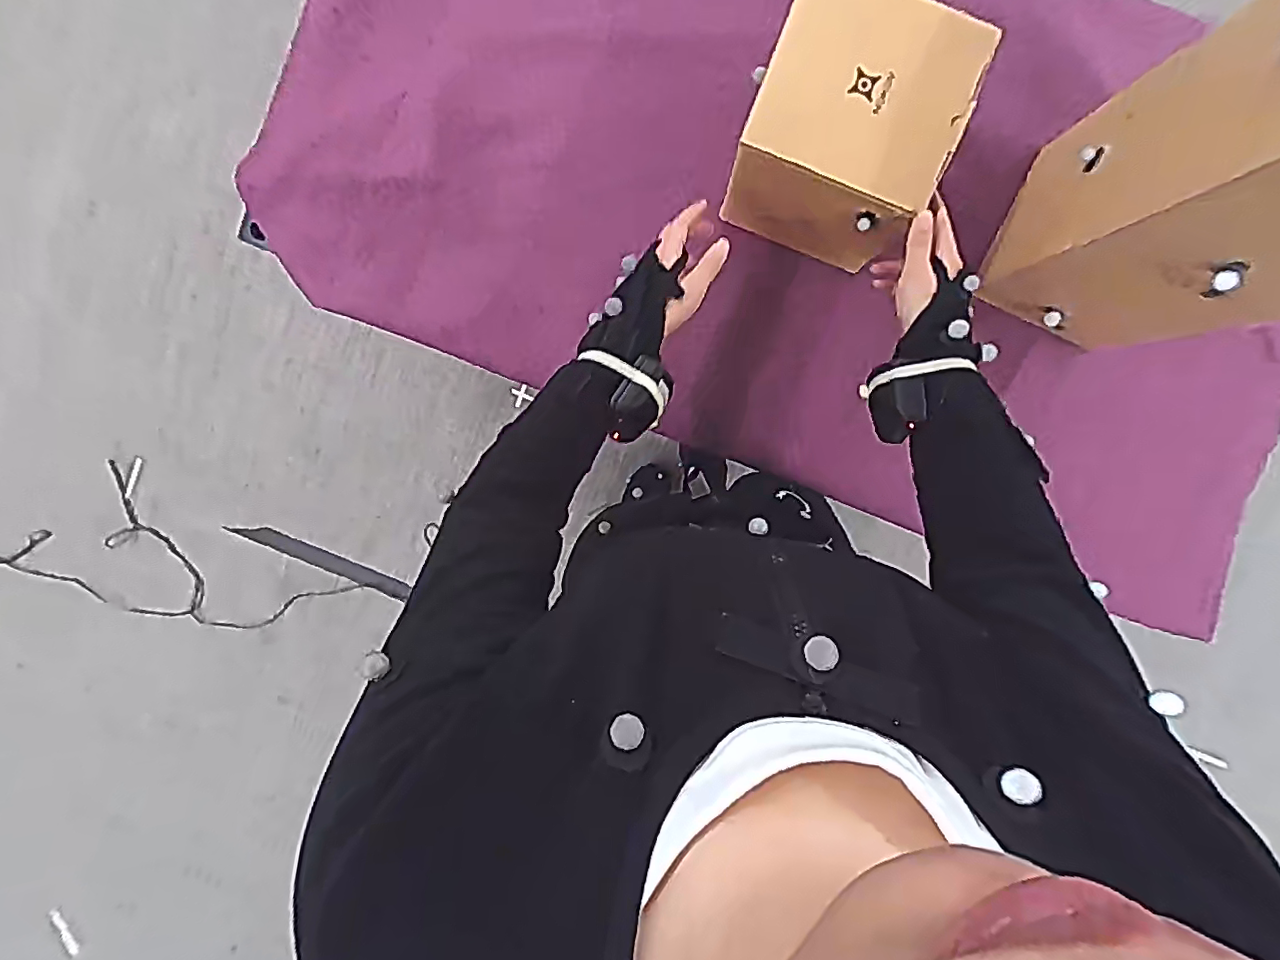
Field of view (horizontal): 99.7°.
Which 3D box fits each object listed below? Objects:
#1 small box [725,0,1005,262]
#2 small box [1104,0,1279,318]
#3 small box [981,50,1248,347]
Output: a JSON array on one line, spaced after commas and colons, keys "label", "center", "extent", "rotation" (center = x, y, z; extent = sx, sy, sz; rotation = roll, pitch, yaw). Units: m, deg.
[{"label": "small box", "center": [0.199, -0.343, 0.538], "extent": [0.179, 0.176, 0.168], "rotation": [22, 95, -1]}, {"label": "small box", "center": [0.488, -0.238, 0.373], "extent": [0.168, 0.176, 0.179], "rotation": [25, 95, 0]}, {"label": "small box", "center": [0.489, -0.255, 0.538], "extent": [0.168, 0.176, 0.179], "rotation": [26, 96, -1]}]
